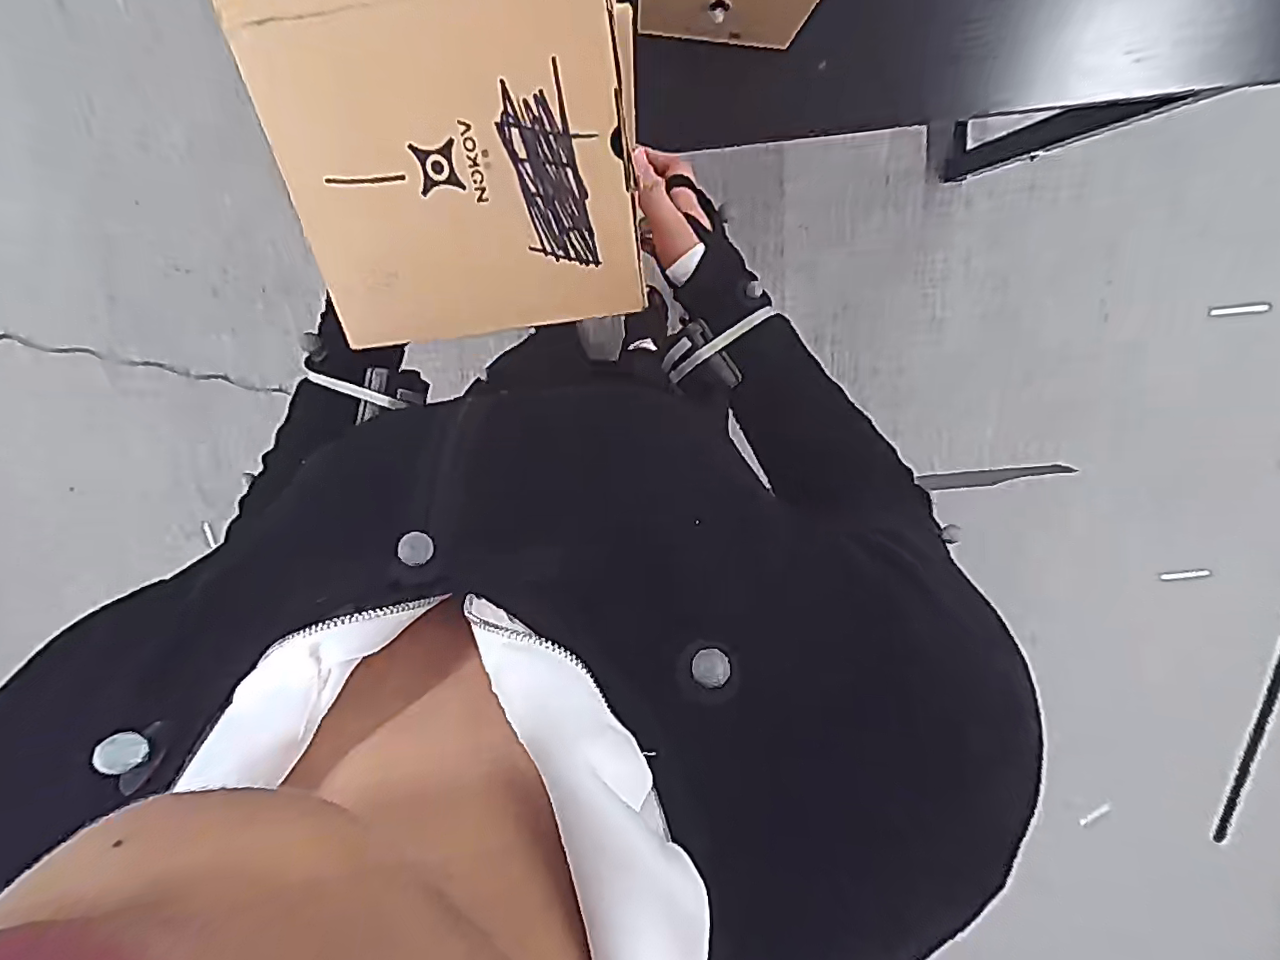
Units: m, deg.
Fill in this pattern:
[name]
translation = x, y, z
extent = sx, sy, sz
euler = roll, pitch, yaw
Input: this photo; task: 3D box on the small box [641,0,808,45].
[small box]
translation = 0.090, -0.538, 0.492
extent = 0.168, 0.176, 0.179
euler = 4, 108, -4
